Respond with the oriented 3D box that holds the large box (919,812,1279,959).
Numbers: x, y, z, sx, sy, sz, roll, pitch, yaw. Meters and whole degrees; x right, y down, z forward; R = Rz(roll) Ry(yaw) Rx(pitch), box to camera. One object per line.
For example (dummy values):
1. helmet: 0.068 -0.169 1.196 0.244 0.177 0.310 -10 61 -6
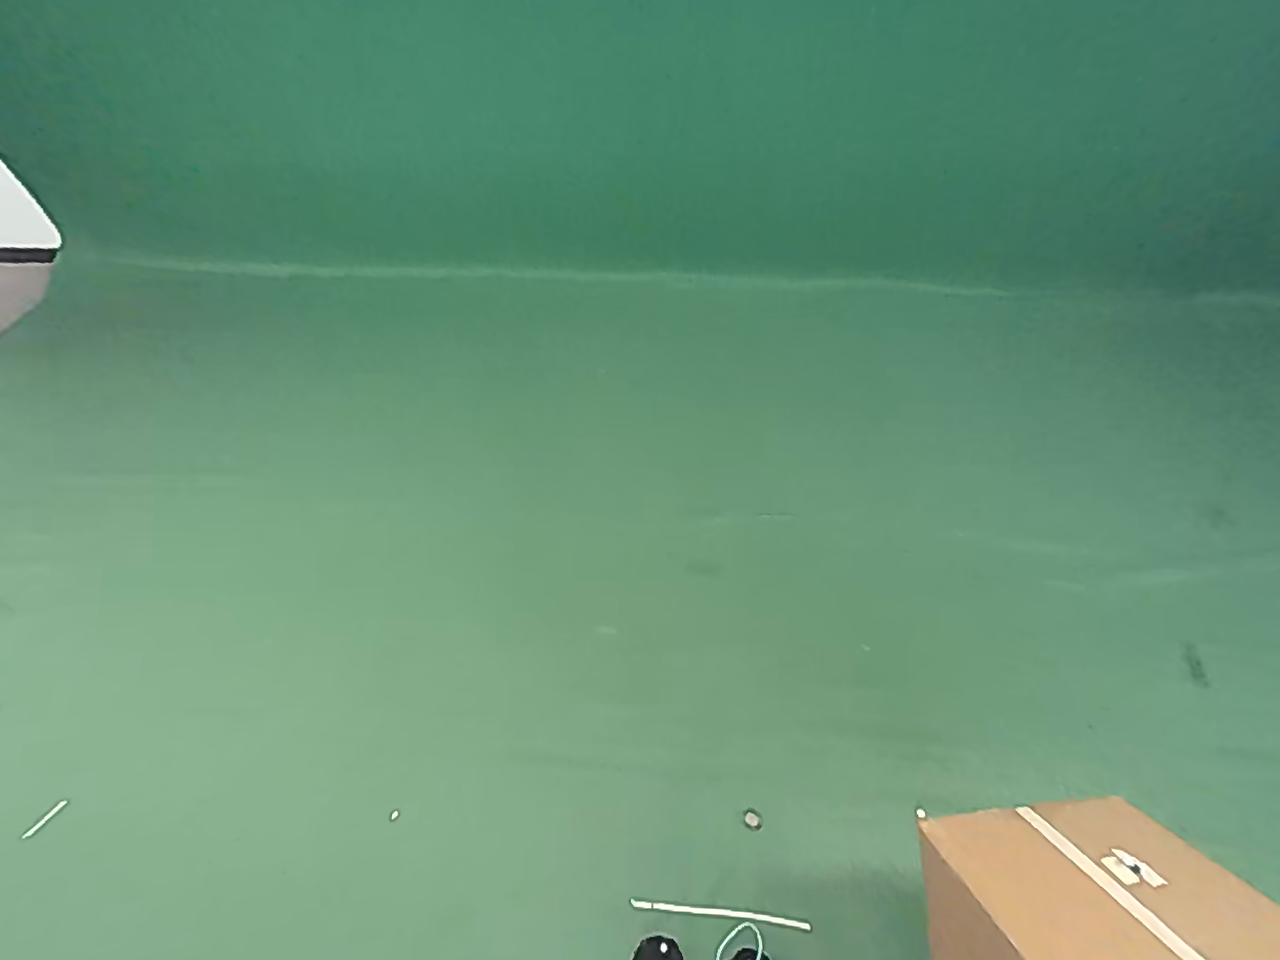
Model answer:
1. large box: 0.591 0.667 0.618 0.320 0.408 0.320 -5 90 -1
